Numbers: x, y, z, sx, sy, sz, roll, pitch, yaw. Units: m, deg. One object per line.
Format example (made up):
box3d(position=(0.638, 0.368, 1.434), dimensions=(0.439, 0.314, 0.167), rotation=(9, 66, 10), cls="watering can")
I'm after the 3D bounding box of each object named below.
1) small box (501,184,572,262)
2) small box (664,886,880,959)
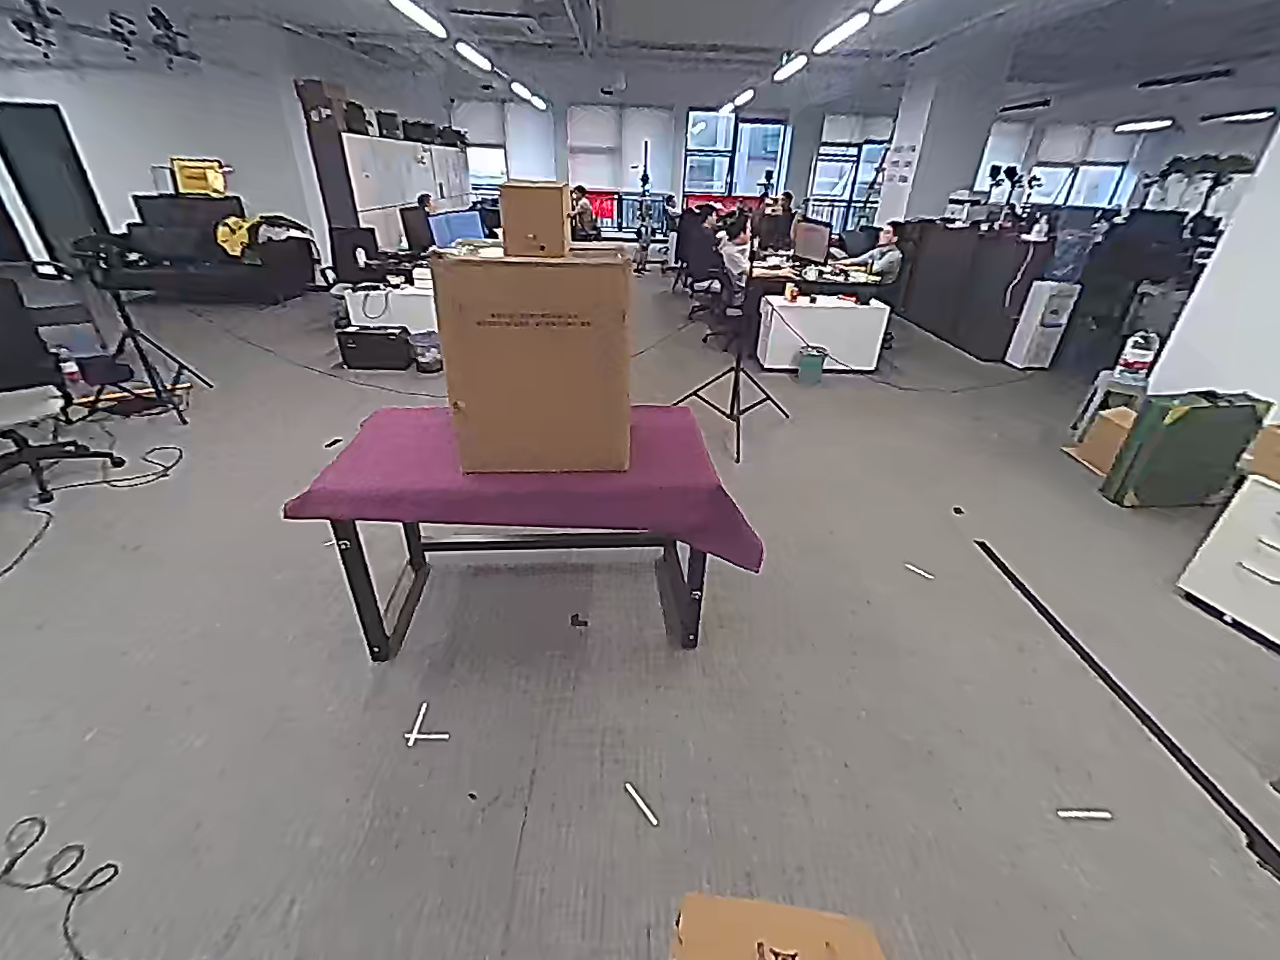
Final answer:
box3d(position=(-0.274, -0.701, 1.469), dimensions=(0.168, 0.176, 0.179), rotation=(0, 32, -2), cls="small box")
box3d(position=(0.104, 0.465, 0.423), dimensions=(0.179, 0.176, 0.168), rotation=(3, -11, 9), cls="small box")
